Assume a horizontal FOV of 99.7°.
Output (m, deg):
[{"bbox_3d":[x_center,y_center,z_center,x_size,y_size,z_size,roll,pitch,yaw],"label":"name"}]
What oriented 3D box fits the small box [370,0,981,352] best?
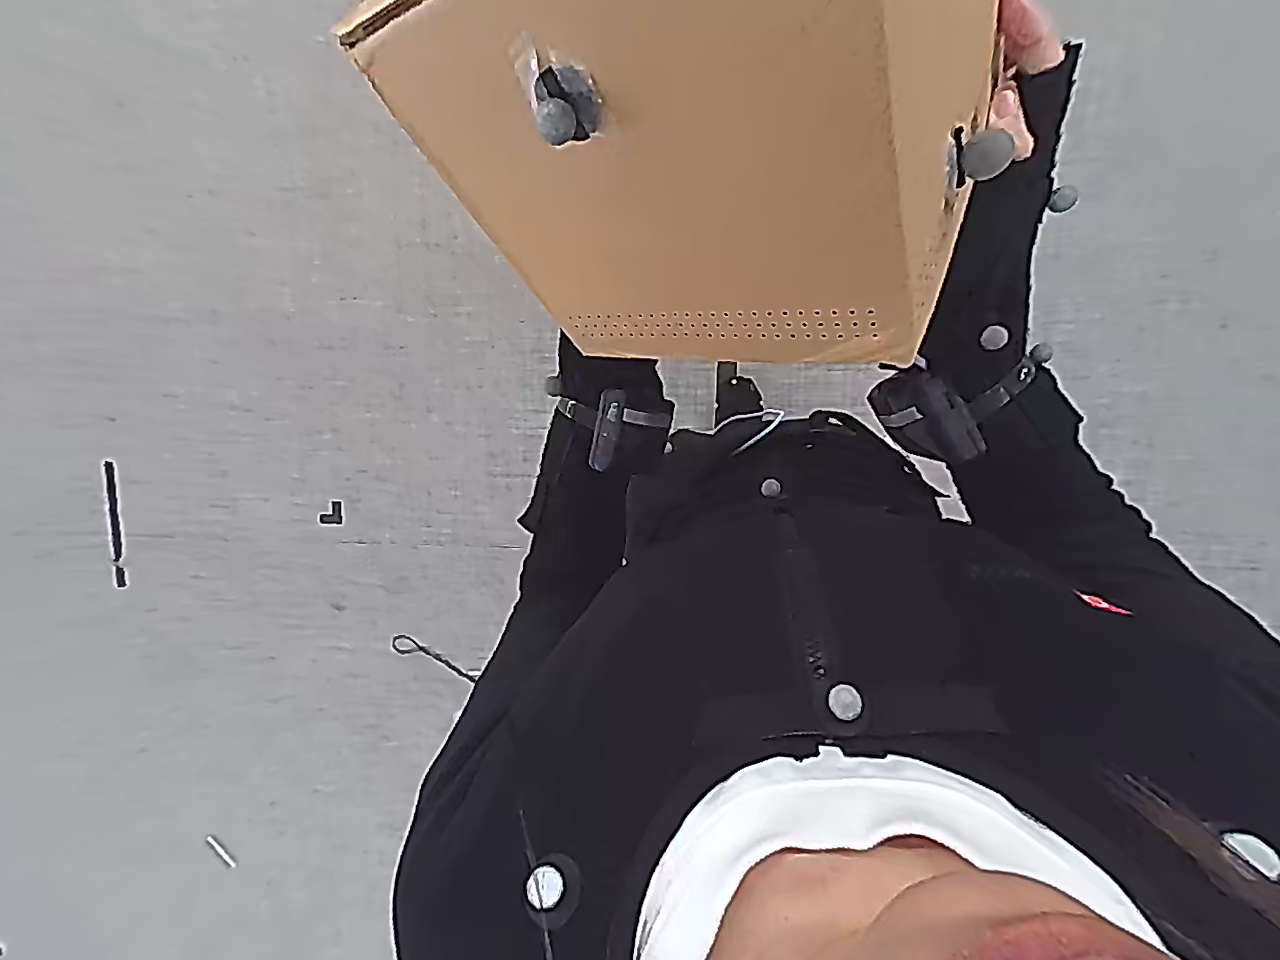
[{"bbox_3d":[0.034,-0.173,0.238,0.179,0.176,0.168,11,67,36],"label":"small box"}]
